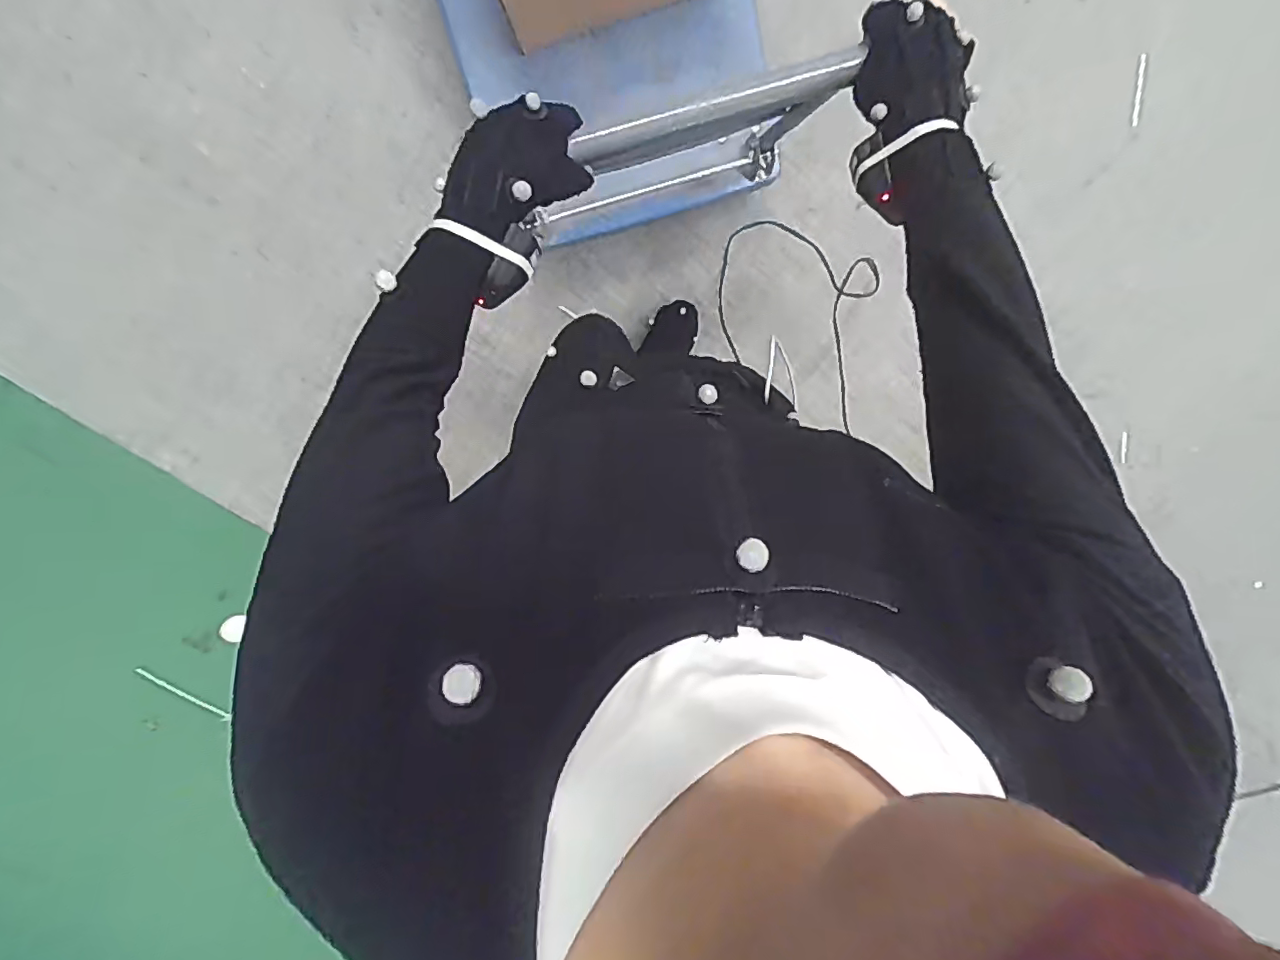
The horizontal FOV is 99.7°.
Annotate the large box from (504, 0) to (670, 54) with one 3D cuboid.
[{"bbox_3d":[-0.072,-0.966,0.843,0.408,0.320,0.320,-18,108,4],"label":"large box"}]
